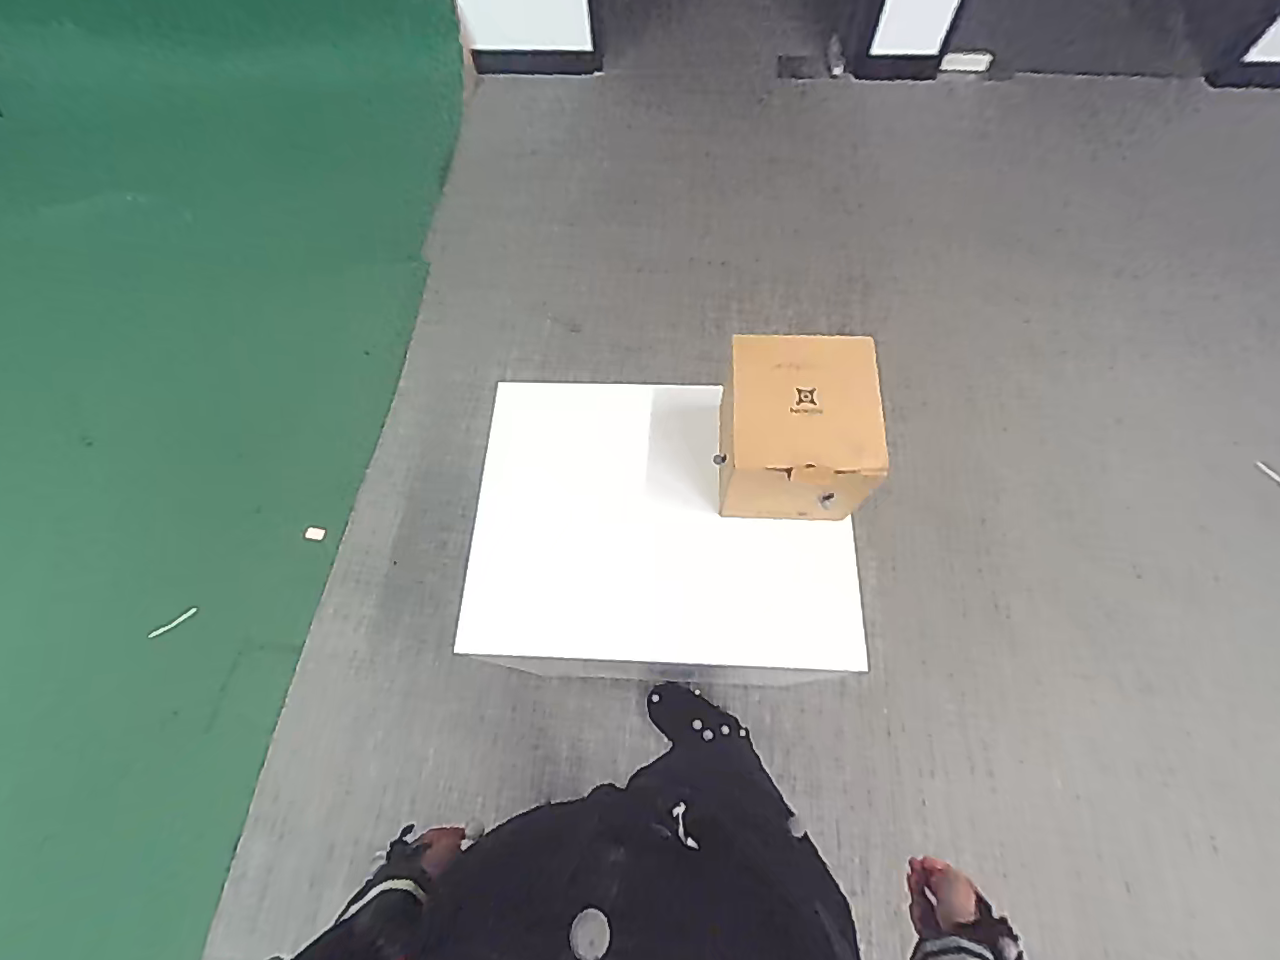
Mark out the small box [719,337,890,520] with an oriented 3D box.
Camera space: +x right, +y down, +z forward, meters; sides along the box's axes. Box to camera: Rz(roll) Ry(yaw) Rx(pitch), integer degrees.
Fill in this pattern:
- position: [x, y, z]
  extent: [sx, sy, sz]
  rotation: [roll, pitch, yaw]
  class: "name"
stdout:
- position: [0.191, -0.056, 0.676]
  extent: [0.168, 0.176, 0.179]
  rotation: [2, 67, 3]
  class: "small box"
